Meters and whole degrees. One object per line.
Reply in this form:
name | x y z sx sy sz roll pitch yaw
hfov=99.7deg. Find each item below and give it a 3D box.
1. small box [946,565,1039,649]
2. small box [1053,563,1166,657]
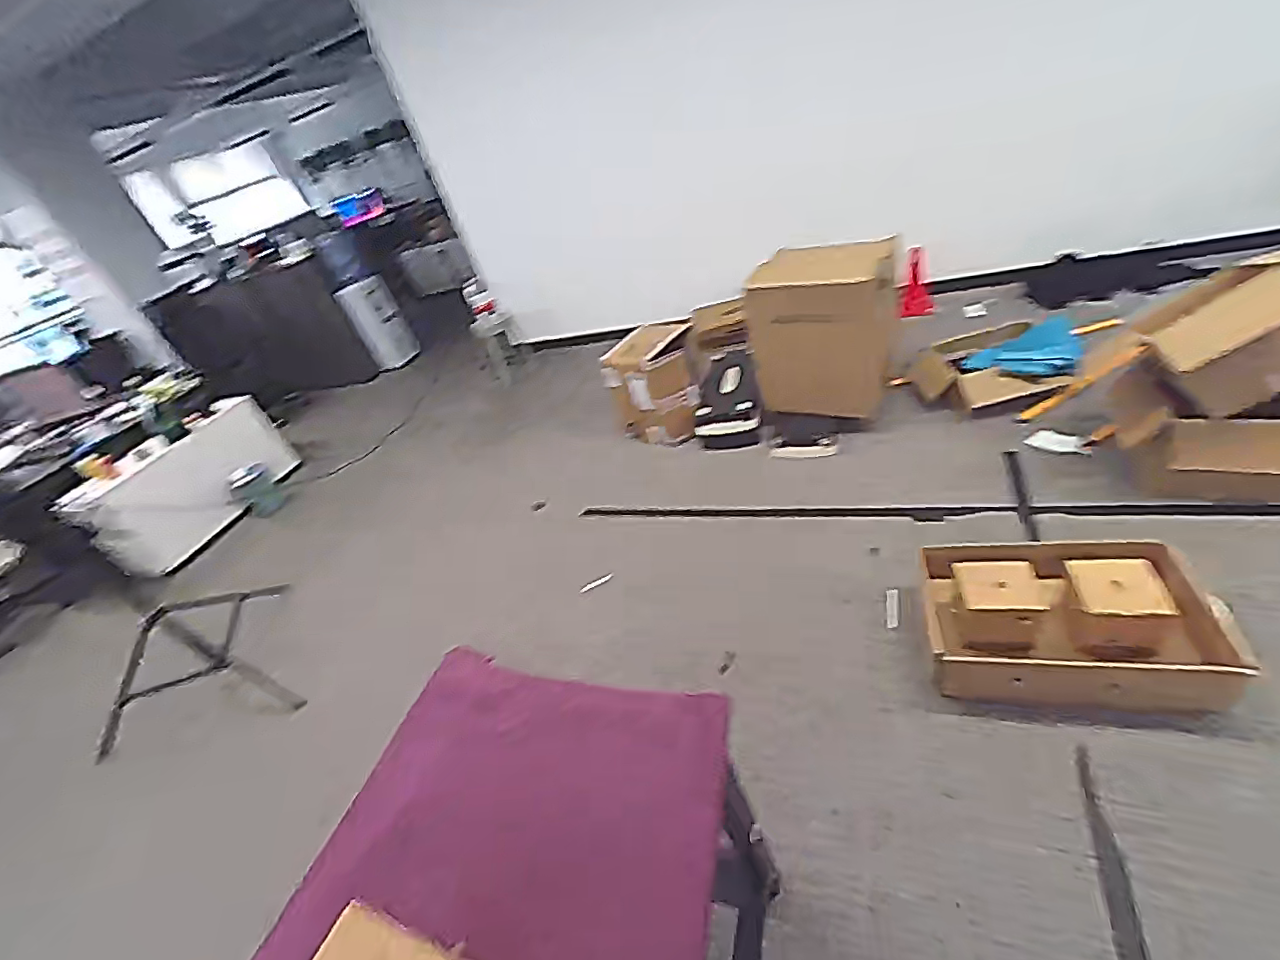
small box | 0.969 0.355 1.503 0.179 0.176 0.168 -5 37 18
small box | 1.212 0.337 1.414 0.168 0.176 0.179 -5 38 21
